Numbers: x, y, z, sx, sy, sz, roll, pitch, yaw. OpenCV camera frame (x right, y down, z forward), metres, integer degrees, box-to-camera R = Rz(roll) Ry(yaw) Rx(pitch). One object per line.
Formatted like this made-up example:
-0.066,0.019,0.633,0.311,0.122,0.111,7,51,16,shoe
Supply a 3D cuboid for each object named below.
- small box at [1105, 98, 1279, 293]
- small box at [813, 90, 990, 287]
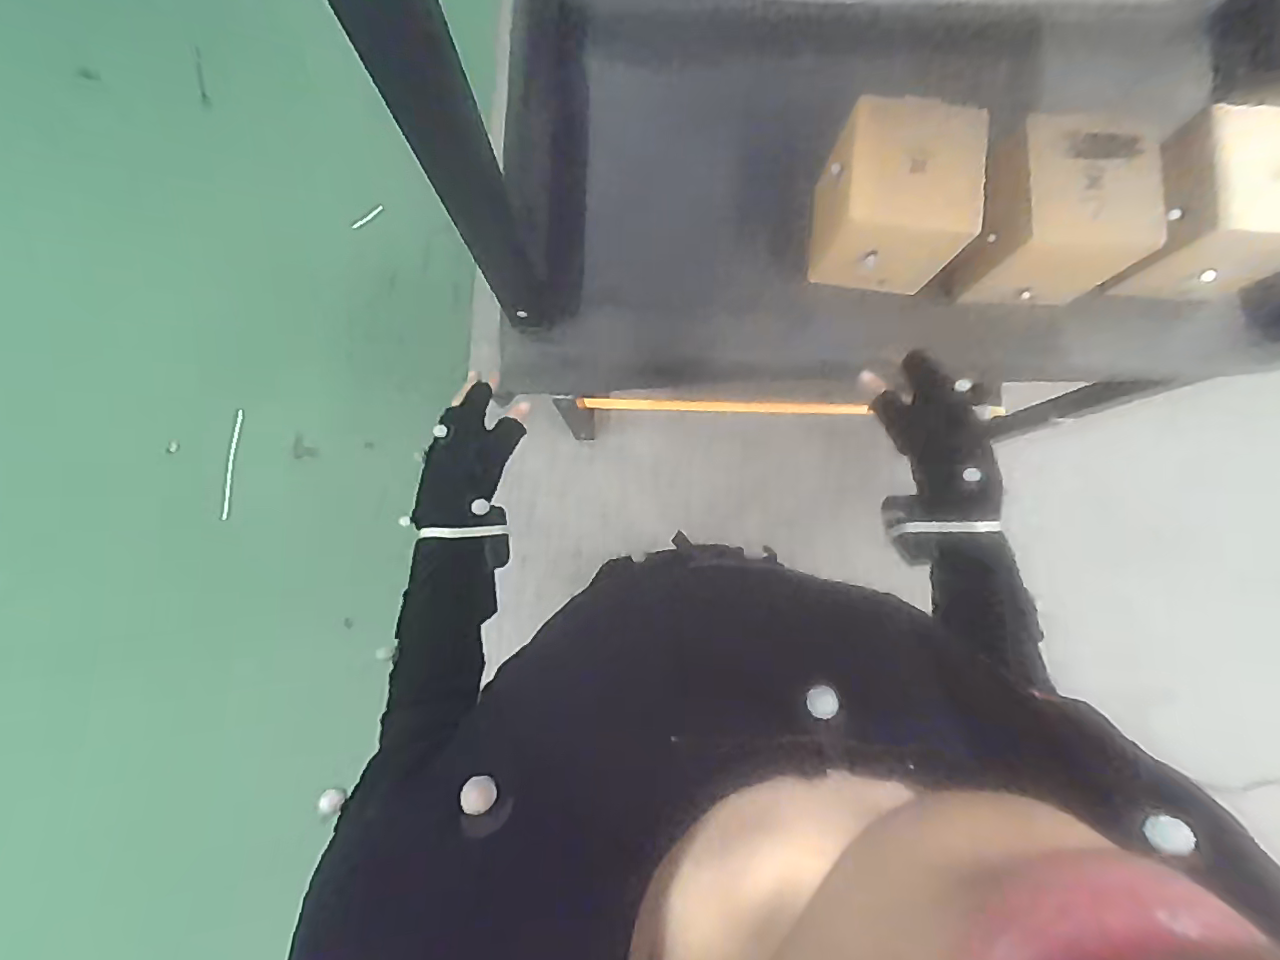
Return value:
0.793,-0.379,0.748,0.168,0.176,0.179,4,82,1,small box
0.352,-0.392,0.756,0.168,0.176,0.179,8,82,1,small box
